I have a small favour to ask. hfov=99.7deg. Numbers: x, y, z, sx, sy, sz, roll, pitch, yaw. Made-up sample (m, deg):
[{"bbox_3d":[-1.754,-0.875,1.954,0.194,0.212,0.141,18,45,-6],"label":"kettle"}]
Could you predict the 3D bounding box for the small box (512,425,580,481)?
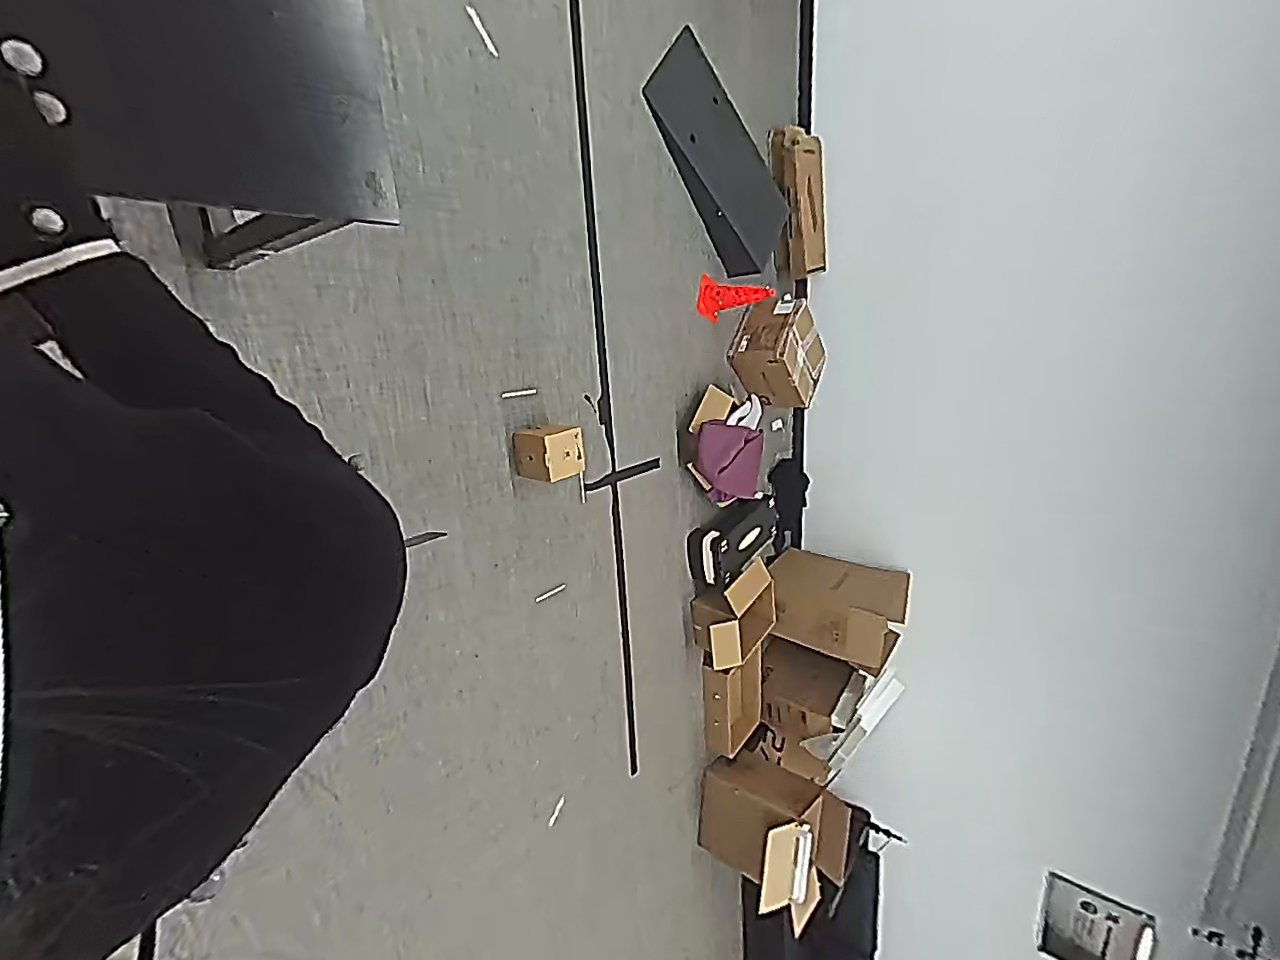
[{"bbox_3d":[-0.342,-0.102,1.941,0.179,0.176,0.168,-22,114,-47],"label":"small box"}]
